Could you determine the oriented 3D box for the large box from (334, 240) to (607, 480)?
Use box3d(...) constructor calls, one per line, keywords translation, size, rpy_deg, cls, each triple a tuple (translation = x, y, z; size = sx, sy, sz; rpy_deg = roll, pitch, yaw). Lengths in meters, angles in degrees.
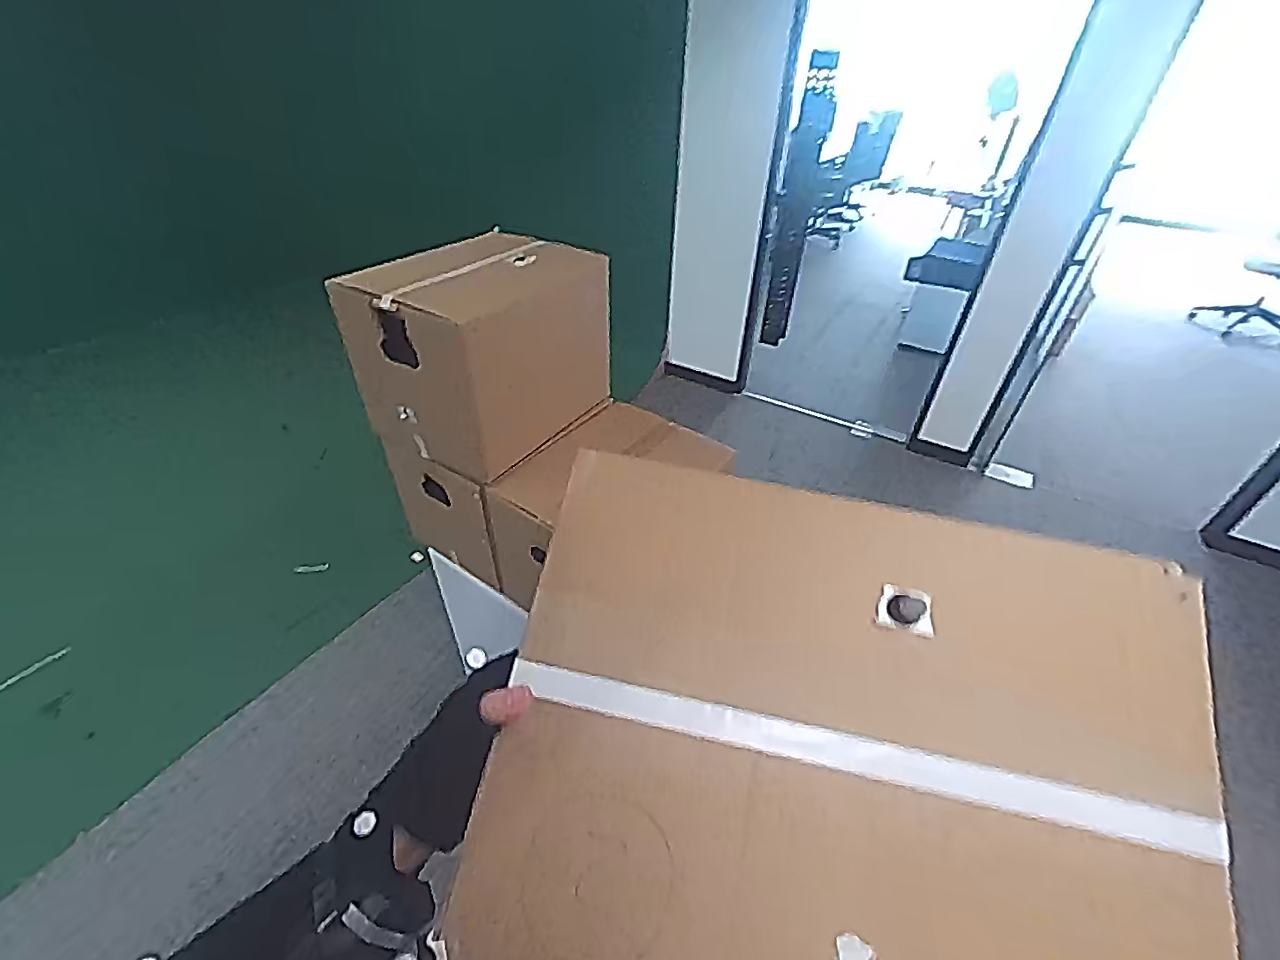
box3d(translation=(-0.298, -0.260, 1.082), size=(0.320, 0.320, 0.408), rpy_deg=(22, 41, 23), cls="large box")
